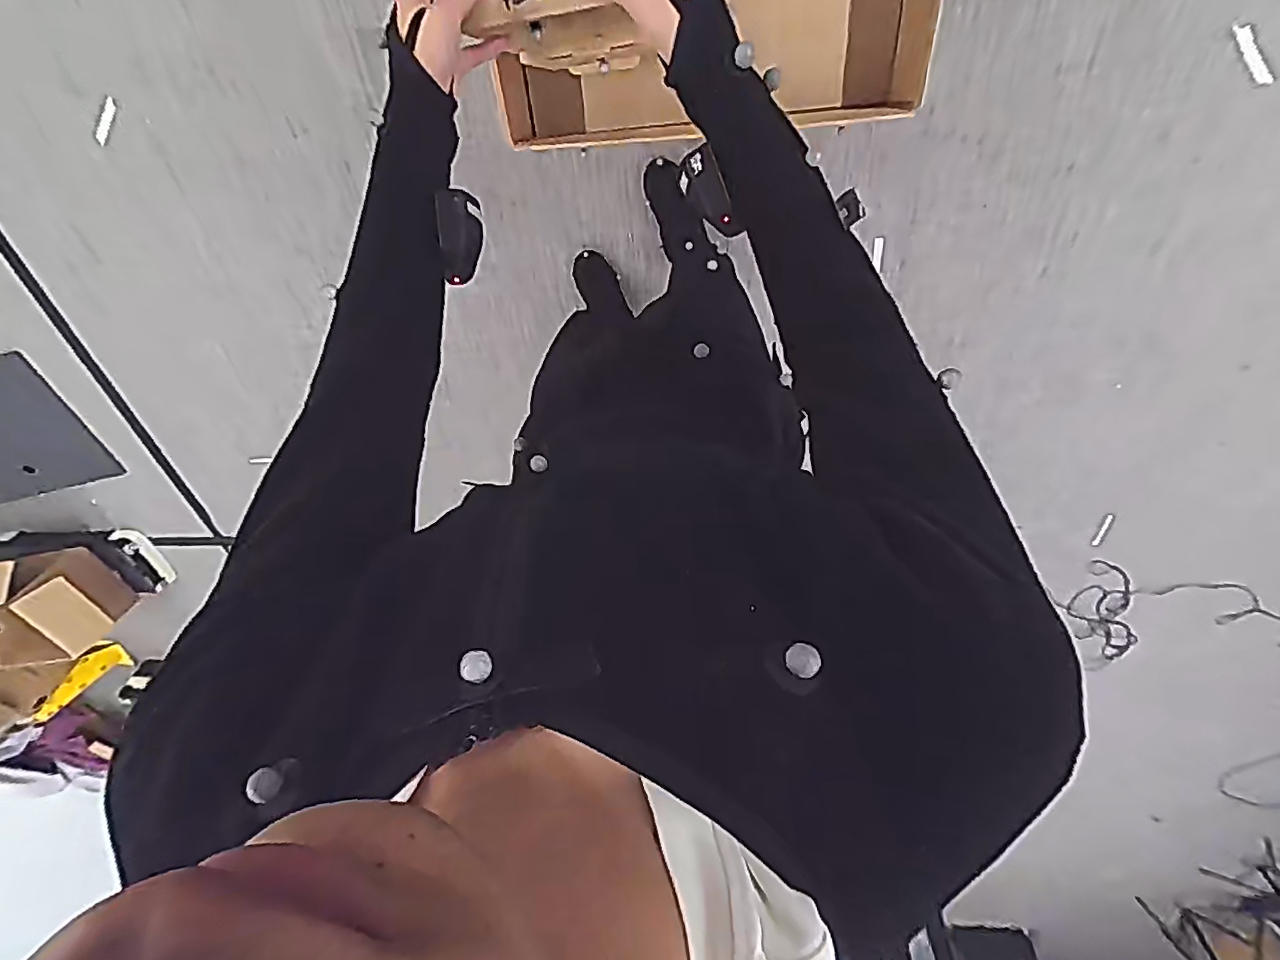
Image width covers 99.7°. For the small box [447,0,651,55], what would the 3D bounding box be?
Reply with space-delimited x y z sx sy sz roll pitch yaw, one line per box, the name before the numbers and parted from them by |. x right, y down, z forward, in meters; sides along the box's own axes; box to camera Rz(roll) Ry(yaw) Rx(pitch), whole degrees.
small box | -0.082 -0.503 0.474 0.168 0.176 0.179 -3 122 7

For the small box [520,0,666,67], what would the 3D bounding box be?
small box | -0.061 -0.597 0.621 0.168 0.176 0.179 -3 126 8
